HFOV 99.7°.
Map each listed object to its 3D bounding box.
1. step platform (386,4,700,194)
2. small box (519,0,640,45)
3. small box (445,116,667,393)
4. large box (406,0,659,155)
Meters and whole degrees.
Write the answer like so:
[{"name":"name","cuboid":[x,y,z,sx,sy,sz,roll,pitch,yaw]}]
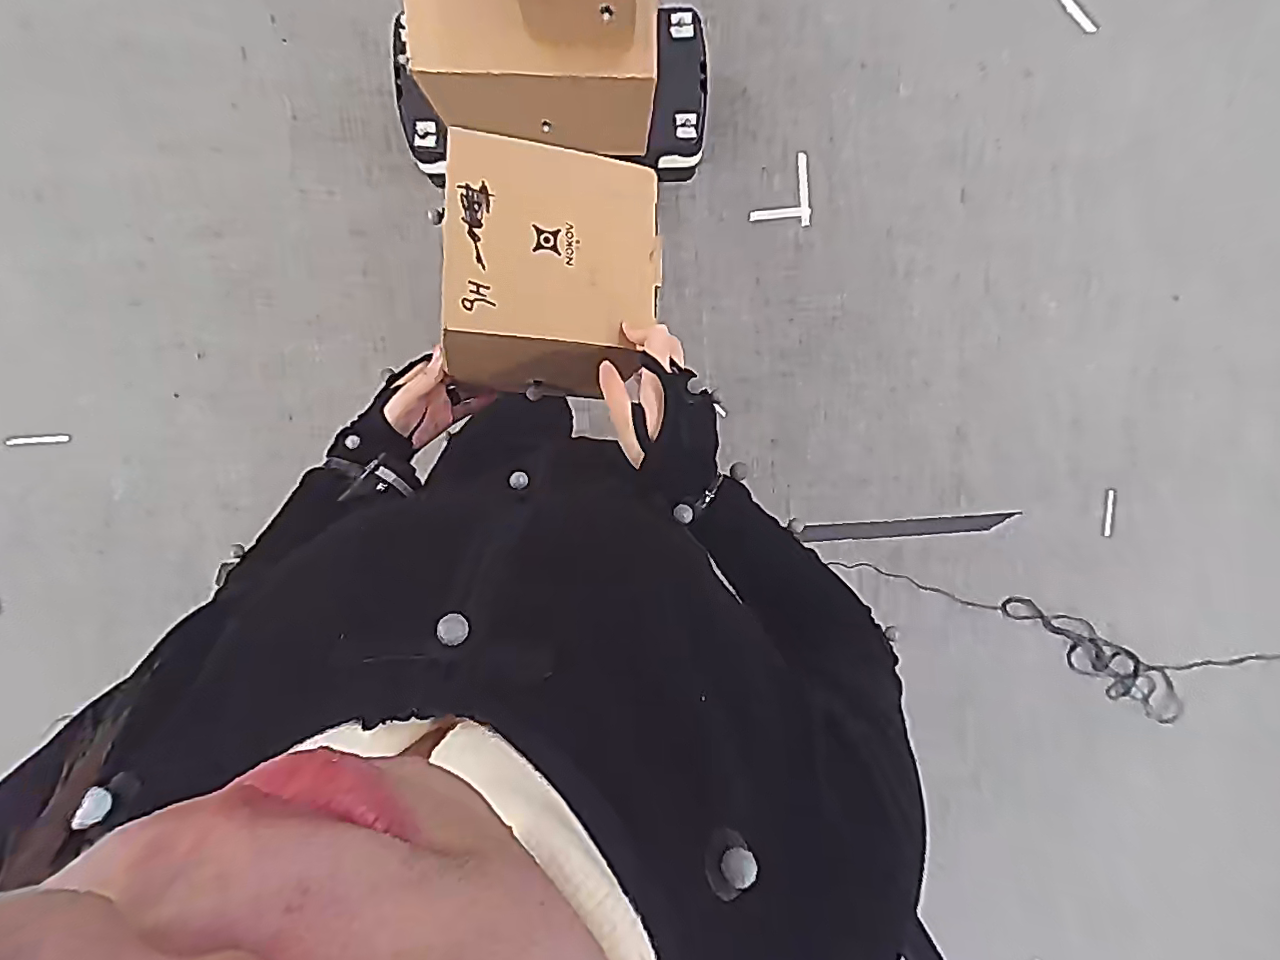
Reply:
[{"name":"step platform","cuboid":[-0.205,-0.852,1.231,0.684,0.204,0.286,2,100,-2]},{"name":"small box","cuboid":[-0.082,-0.756,0.762,0.179,0.176,0.168,3,100,-3]},{"name":"small box","cuboid":[-0.086,-0.185,0.506,0.179,0.176,0.168,2,83,-19]},{"name":"large box","cuboid":[-0.174,-0.824,0.995,0.408,0.320,0.320,-1,99,-2]}]
